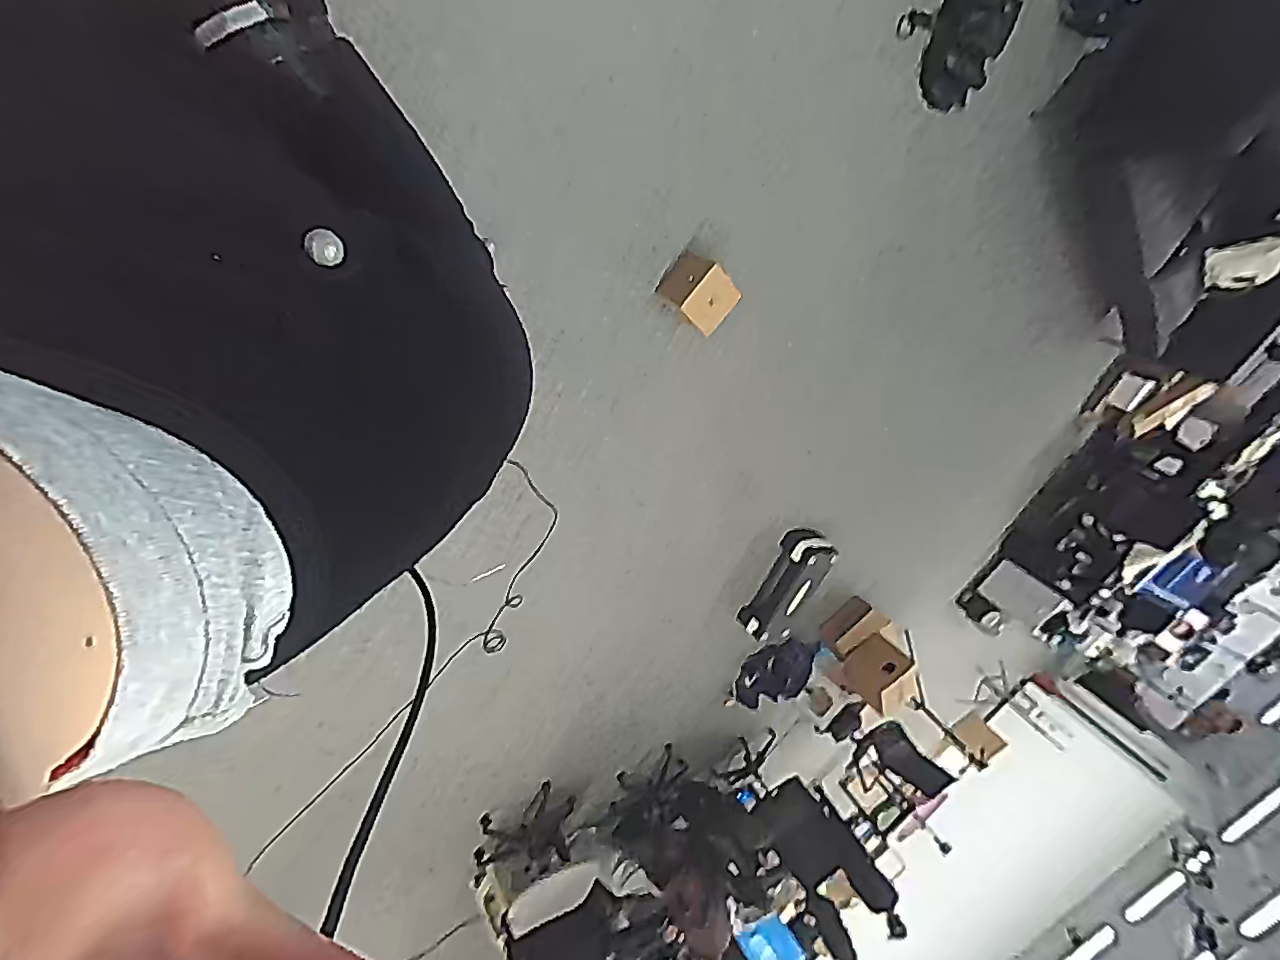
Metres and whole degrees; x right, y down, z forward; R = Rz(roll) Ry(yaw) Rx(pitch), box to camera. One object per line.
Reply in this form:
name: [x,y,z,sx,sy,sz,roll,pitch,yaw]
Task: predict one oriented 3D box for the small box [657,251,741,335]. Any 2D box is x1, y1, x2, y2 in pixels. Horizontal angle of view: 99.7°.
small box: [0.186,-0.612,1.754,0.179,0.176,0.168,-50,135,9]
